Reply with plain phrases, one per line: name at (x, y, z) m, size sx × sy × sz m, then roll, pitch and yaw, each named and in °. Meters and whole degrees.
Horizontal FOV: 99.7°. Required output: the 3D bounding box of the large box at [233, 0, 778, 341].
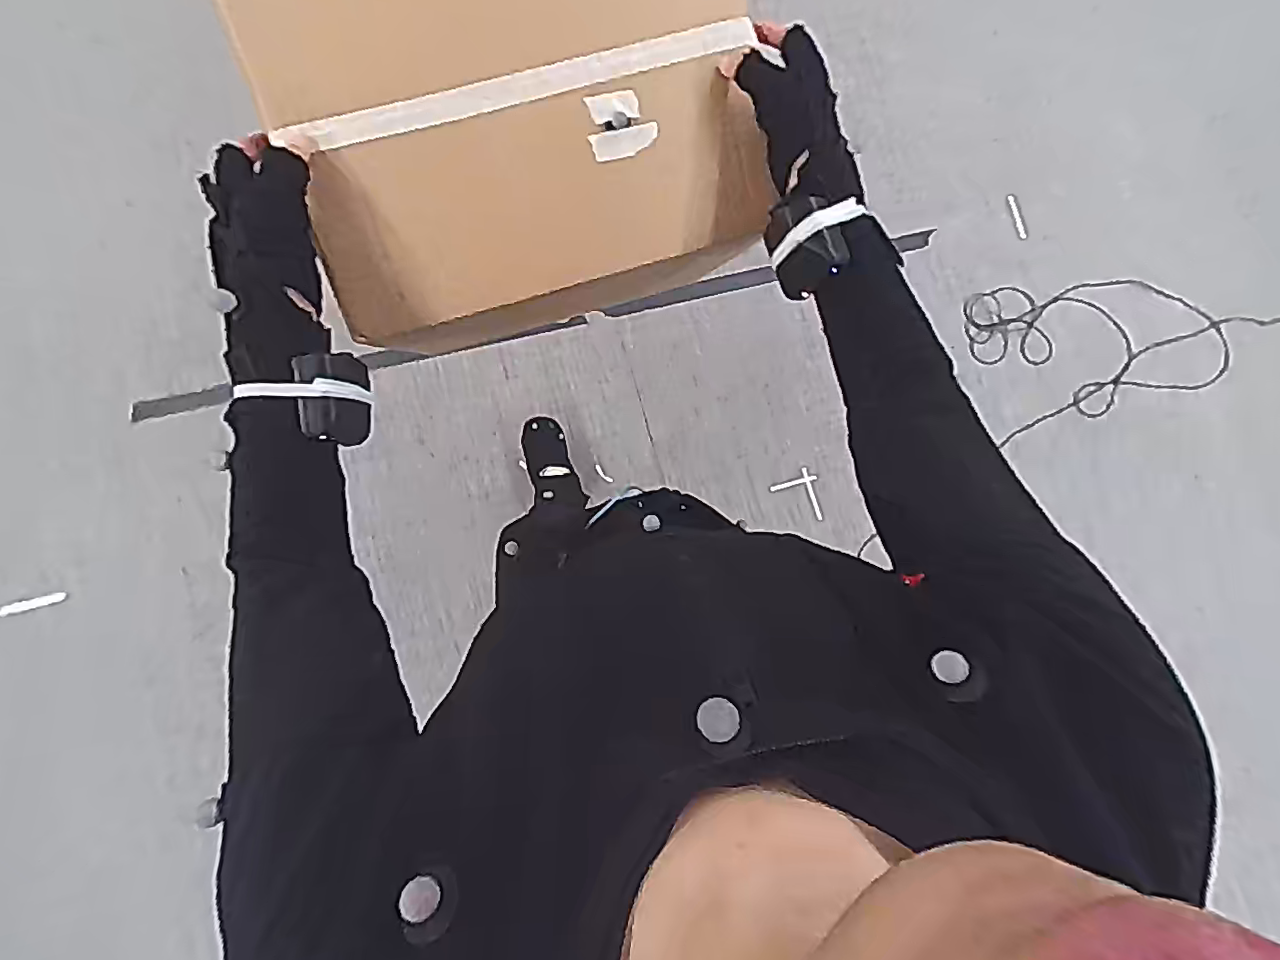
large box at (-0.124, -0.368, 0.597) m, size 0.408 × 0.320 × 0.320 m, roll -18°, pitch 104°, yaw -7°
